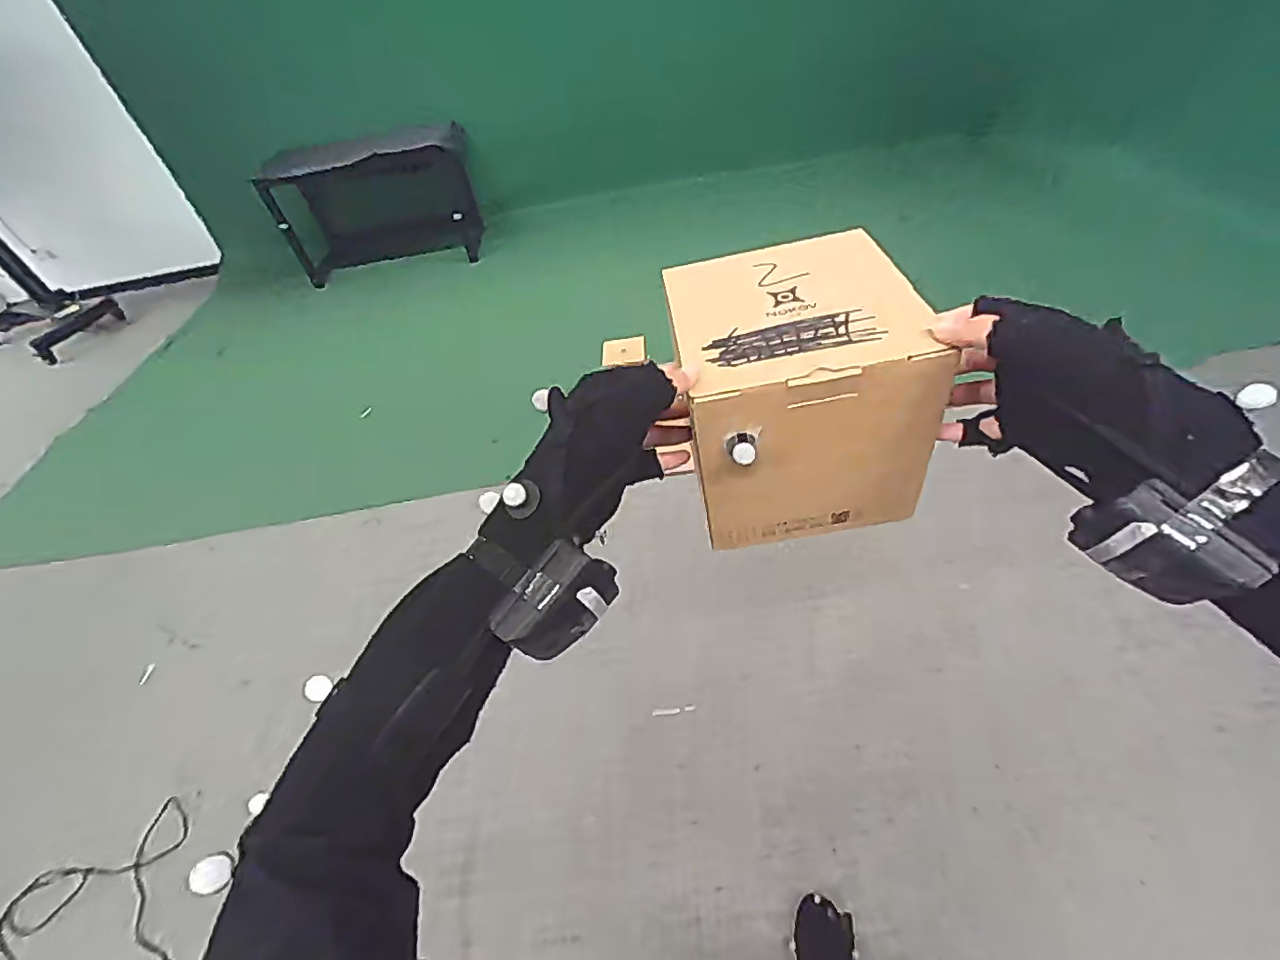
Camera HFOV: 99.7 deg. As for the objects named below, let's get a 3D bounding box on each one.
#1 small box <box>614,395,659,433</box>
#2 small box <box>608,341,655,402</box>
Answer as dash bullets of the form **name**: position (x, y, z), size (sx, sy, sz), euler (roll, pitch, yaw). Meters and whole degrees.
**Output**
- **small box**: position (-0.013, -0.311, 2.279), size (0.168, 0.176, 0.179), euler (-8, 43, 5)
- **small box**: position (-0.033, -0.434, 2.175), size (0.168, 0.176, 0.179), euler (-7, 44, 5)
